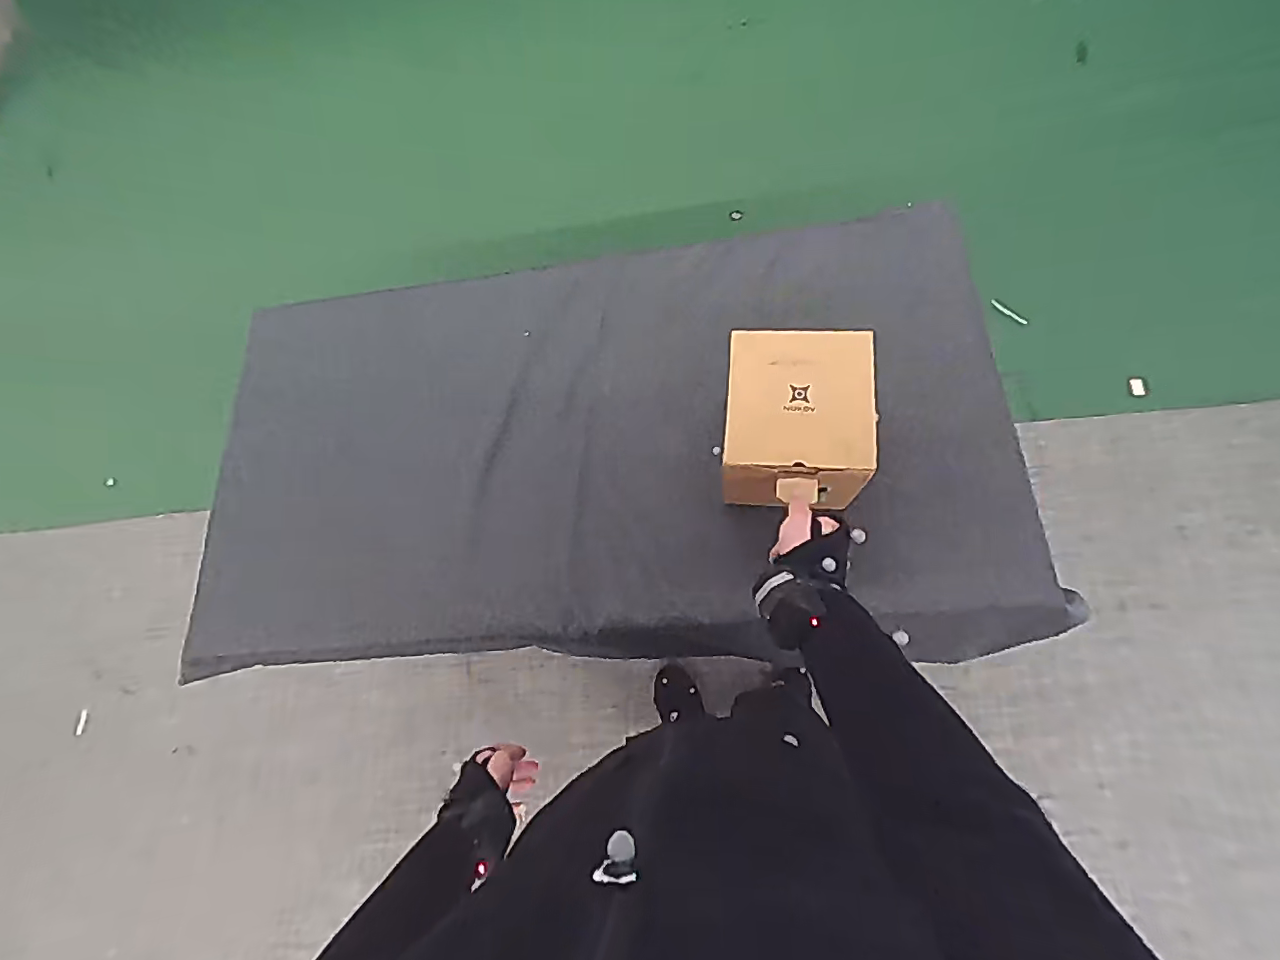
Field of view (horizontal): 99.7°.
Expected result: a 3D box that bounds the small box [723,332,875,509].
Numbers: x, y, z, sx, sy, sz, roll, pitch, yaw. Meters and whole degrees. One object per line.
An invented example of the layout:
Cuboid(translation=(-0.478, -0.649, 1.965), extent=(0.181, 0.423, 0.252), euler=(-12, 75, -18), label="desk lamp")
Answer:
Cuboid(translation=(0.195, -0.068, 0.698), extent=(0.168, 0.176, 0.179), euler=(4, 71, 8), label="small box")
